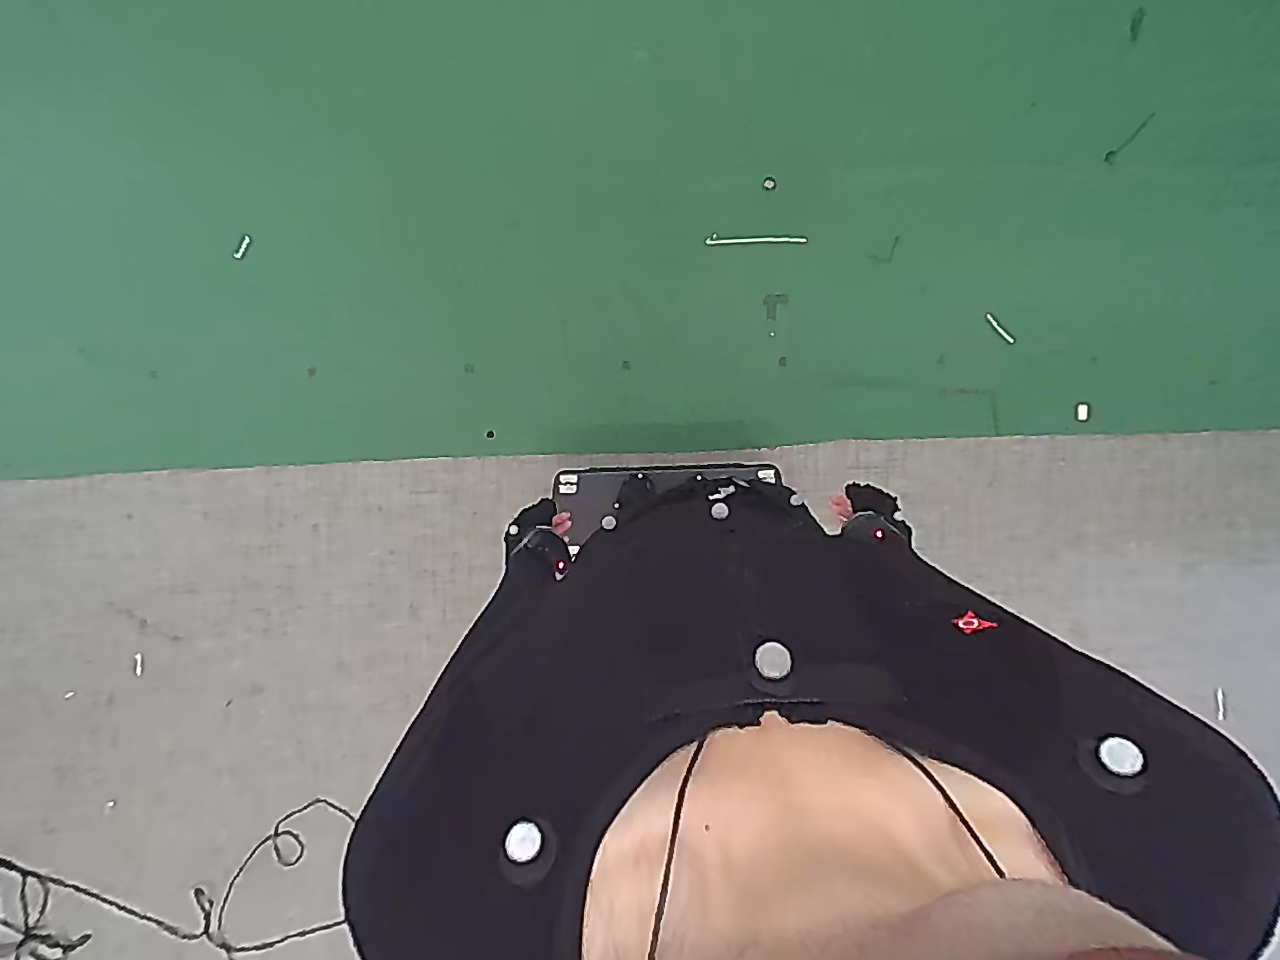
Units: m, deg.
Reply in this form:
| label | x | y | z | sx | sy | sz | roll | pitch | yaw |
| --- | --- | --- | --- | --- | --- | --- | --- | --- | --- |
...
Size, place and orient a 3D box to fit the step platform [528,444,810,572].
| label | x | y | z | sx | sy | sz | roll | pitch | yaw |
| --- | --- | --- | --- | --- | --- | --- | --- | --- | --- |
| step platform | 0.071 | 0.065 | 1.394 | 0.684 | 0.204 | 0.286 | -3 | 92 | 0 |
